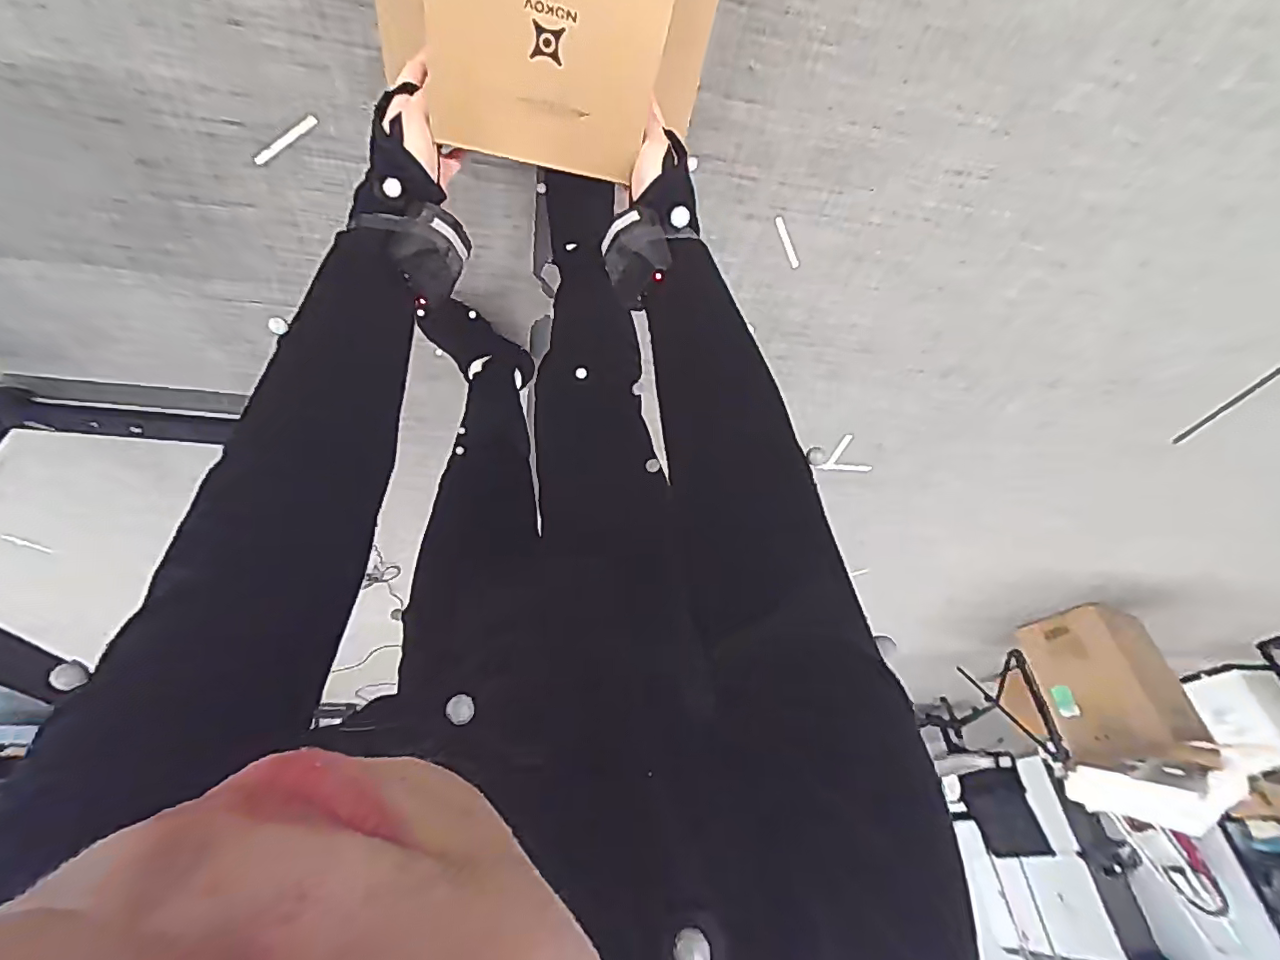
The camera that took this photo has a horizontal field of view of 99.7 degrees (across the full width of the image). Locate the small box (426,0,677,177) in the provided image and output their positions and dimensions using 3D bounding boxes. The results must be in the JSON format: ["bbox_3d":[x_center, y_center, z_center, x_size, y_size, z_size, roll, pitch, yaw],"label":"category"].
[{"bbox_3d":[-0.069,-0.378,0.419,0.168,0.176,0.179,5,142,-14],"label":"small box"}]
